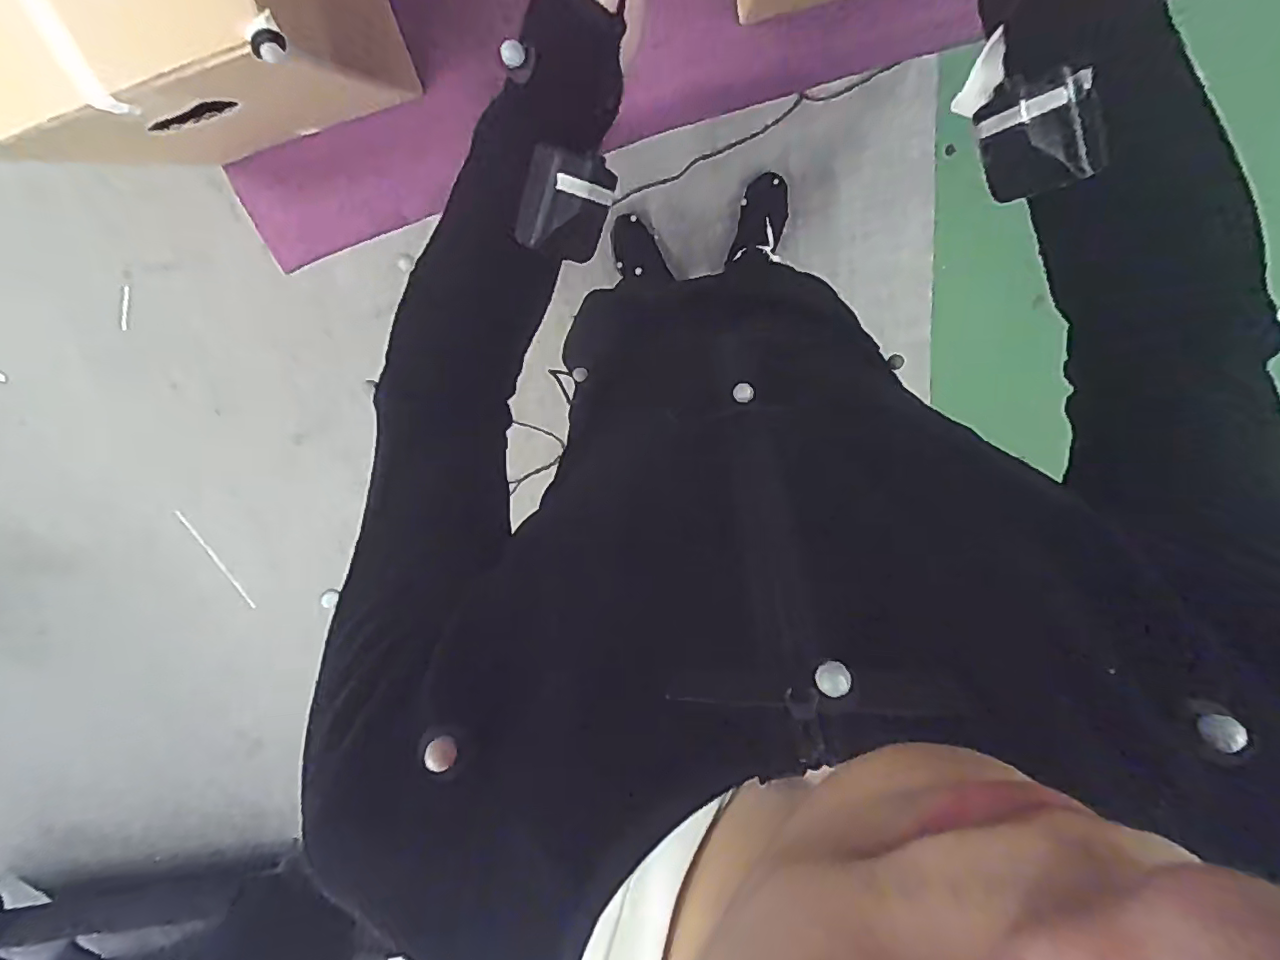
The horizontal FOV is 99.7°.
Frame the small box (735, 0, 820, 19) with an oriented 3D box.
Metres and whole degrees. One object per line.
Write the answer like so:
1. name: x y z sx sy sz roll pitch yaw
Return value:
1. small box: 0.174 -0.576 0.508 0.179 0.176 0.168 -10 117 7
